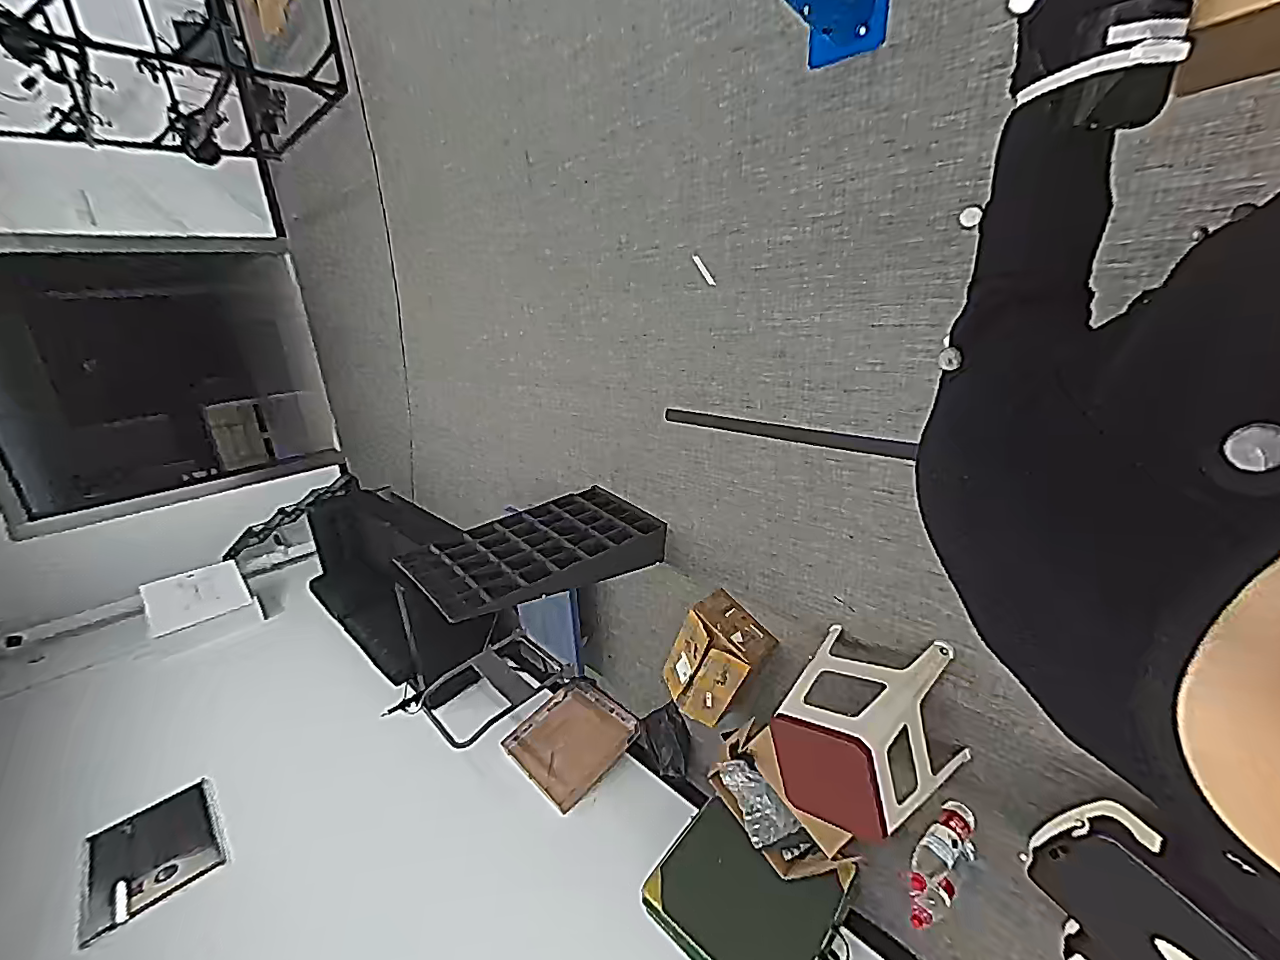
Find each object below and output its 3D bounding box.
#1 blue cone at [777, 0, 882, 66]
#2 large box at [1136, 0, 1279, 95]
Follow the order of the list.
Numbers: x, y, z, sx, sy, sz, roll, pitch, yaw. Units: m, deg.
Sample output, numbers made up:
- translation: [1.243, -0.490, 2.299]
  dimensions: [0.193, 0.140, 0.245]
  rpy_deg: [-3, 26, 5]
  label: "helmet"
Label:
- translation: [0.378, -1.097, 1.212]
  dimensions: [0.192, 0.380, 0.193]
  rpy_deg: [21, 121, 44]
  label: "blue cone"
- translation: [0.542, -0.453, 0.263]
  dimensions: [0.408, 0.320, 0.320]
  rpy_deg: [11, 118, 45]
  label: "large box"
